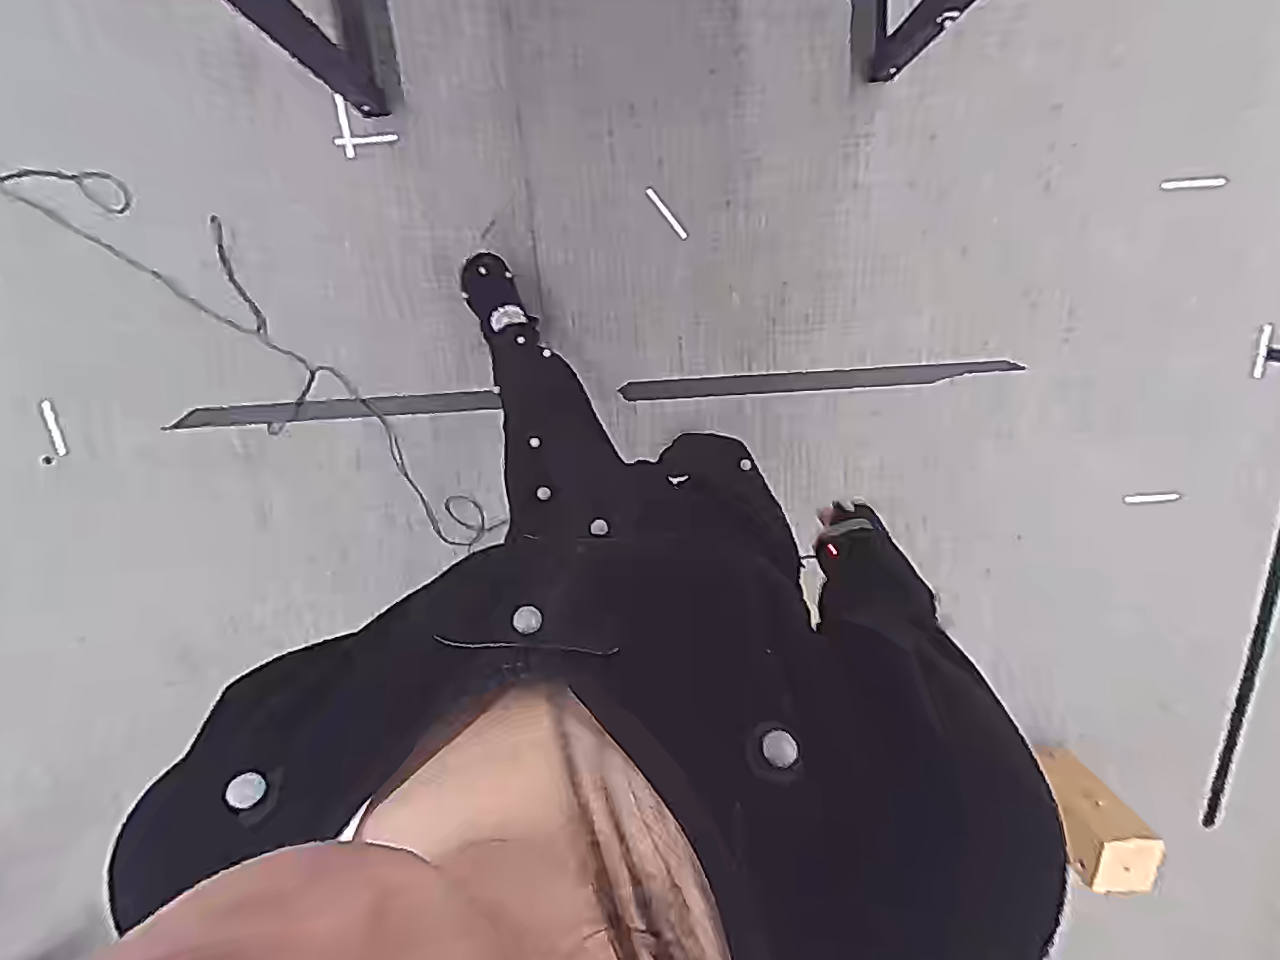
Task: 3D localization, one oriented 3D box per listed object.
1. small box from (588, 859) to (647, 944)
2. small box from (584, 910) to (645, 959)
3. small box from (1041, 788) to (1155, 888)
[{"bbox_3d":[-0.073,1.375,1.764,0.168,0.176,0.179,-8,107,1],"label":"small box"},{"bbox_3d":[-0.073,1.420,1.605,0.168,0.176,0.179,-8,106,1],"label":"small box"},{"bbox_3d":[1.285,1.010,1.534,0.168,0.176,0.179,-1,105,-3],"label":"small box"}]
